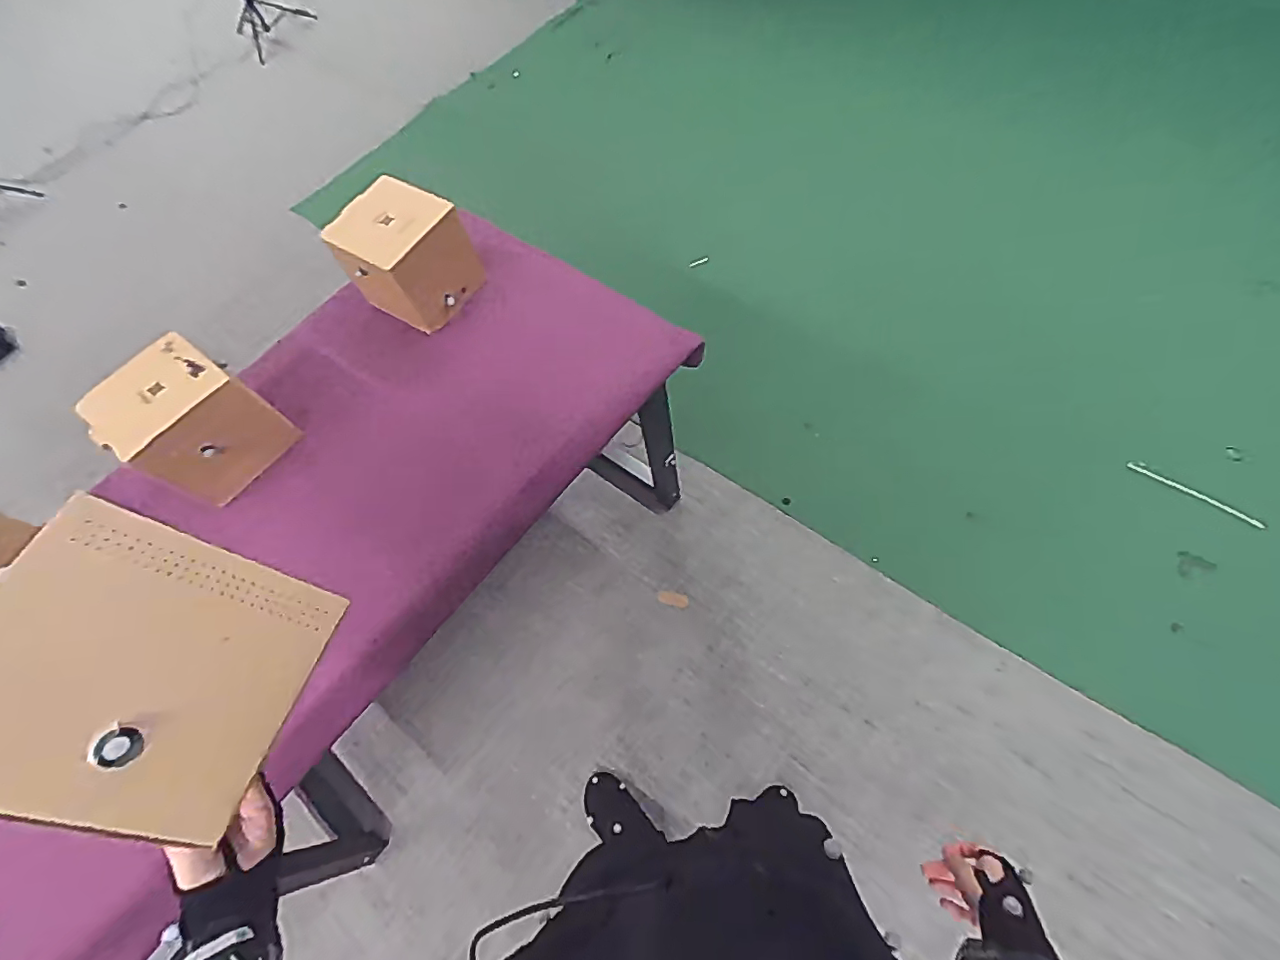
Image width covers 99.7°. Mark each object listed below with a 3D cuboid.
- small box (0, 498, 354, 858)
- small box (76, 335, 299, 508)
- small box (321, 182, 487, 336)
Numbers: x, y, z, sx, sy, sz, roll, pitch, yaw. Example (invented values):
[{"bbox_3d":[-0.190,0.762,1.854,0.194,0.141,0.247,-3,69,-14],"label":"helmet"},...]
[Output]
[{"bbox_3d":[-0.342,0.134,0.384,0.168,0.179,0.176,-19,44,46],"label":"small box"},{"bbox_3d":[-0.696,-0.084,0.852,0.168,0.176,0.179,34,73,19],"label":"small box"},{"bbox_3d":[-0.412,-0.389,0.971,0.179,0.176,0.168,30,72,18],"label":"small box"}]
